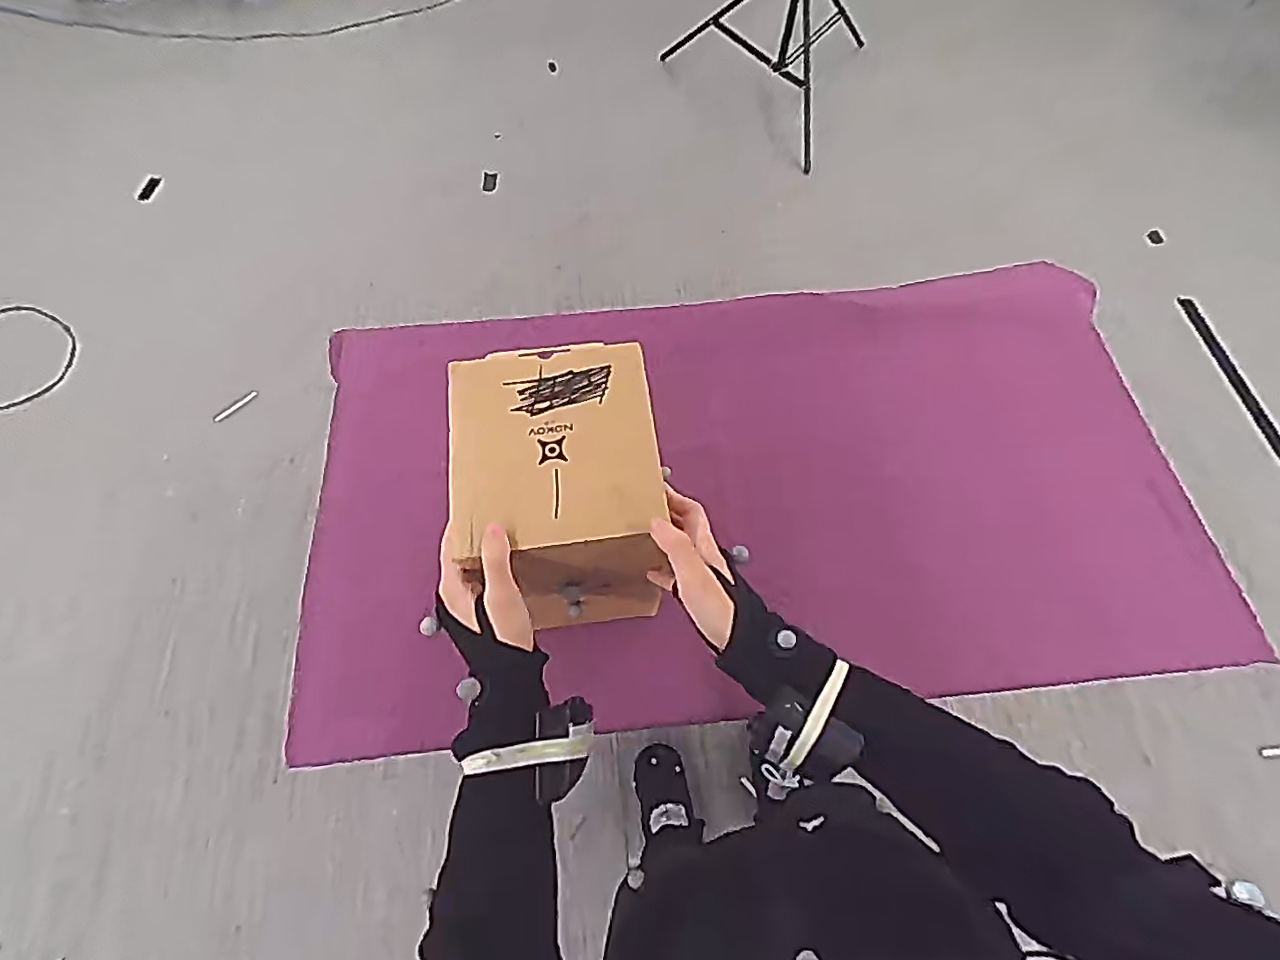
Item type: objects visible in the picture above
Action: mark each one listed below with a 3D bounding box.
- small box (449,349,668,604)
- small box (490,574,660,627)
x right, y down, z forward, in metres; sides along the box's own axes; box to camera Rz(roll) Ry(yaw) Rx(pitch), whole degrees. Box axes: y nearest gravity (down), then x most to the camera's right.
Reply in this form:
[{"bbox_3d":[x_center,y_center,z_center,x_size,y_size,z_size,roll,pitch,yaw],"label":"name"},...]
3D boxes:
[{"bbox_3d":[-0.071,0.005,0.507,0.168,0.176,0.179,-8,66,-3],"label":"small box"},{"bbox_3d":[-0.074,0.076,0.656,0.179,0.176,0.168,-6,66,-2],"label":"small box"}]
